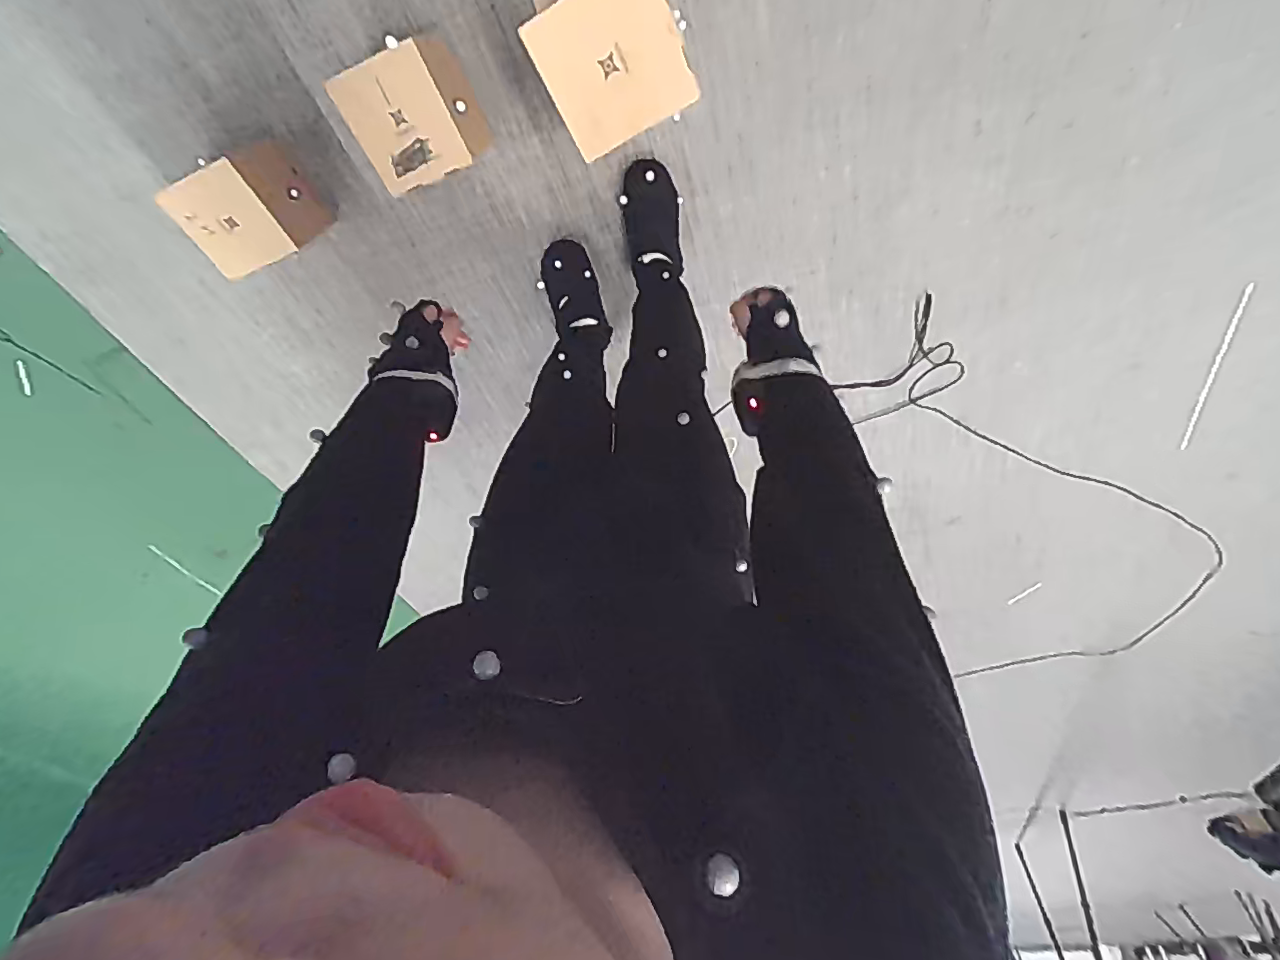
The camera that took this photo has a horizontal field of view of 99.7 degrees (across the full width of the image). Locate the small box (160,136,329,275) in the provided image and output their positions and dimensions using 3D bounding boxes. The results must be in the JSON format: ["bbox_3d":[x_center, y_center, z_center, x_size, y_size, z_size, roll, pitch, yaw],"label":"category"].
[{"bbox_3d":[-0.736,-0.529,1.037,0.179,0.176,0.168,-14,131,15],"label":"small box"}]

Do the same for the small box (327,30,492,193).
[{"bbox_3d":[-0.377,-0.631,0.925,0.168,0.176,0.179,-13,131,14],"label":"small box"}]

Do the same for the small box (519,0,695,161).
[{"bbox_3d":[-0.036,-0.578,0.739,0.179,0.176,0.168,-20,130,19],"label":"small box"}]
